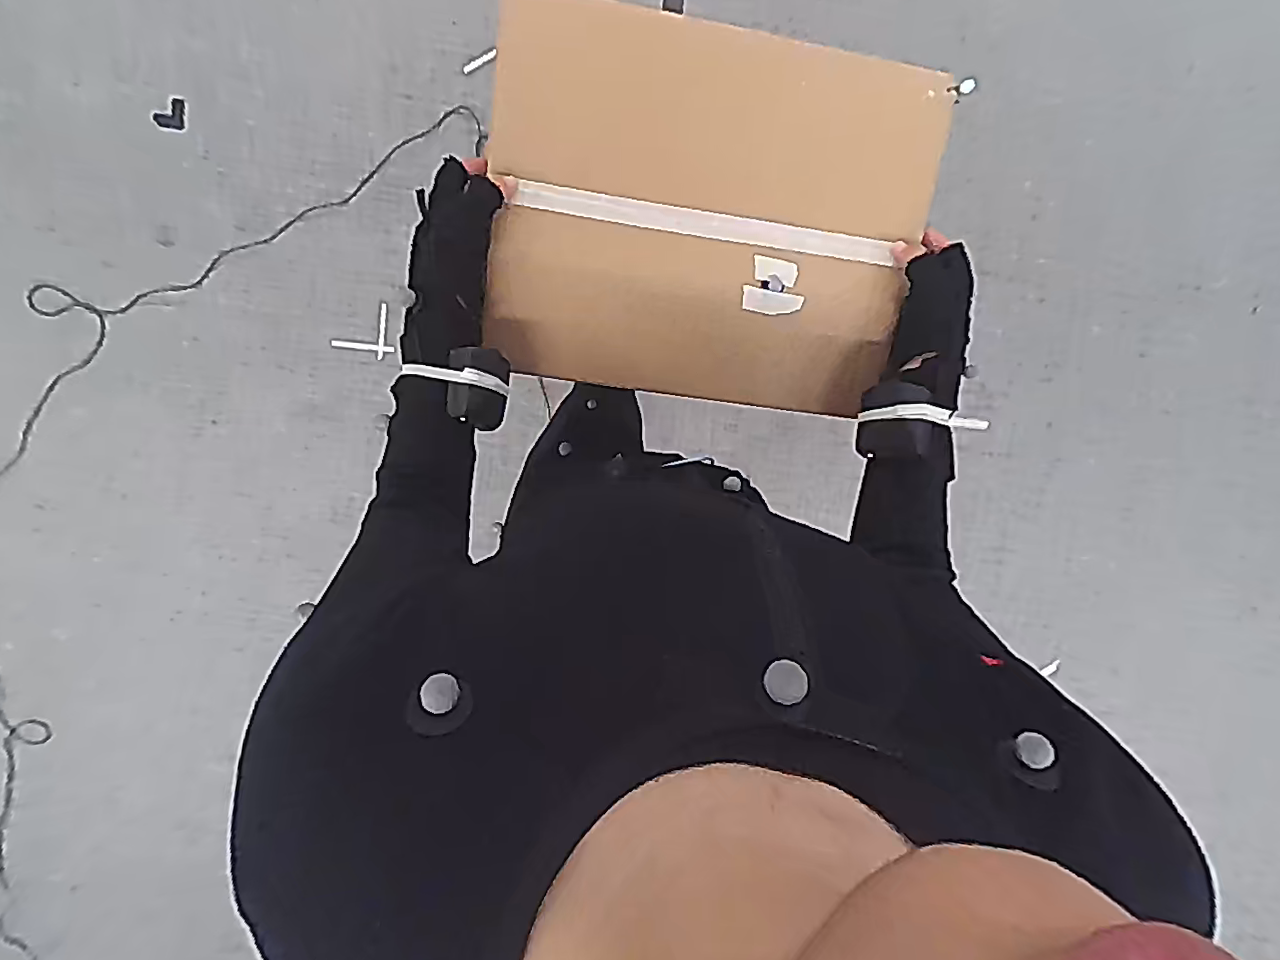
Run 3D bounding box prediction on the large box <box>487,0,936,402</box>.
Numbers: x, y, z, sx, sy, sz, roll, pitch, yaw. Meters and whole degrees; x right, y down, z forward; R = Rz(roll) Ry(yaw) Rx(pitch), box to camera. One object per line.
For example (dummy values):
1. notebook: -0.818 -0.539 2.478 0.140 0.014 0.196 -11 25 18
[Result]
1. large box: 0.047 -0.282 0.653 0.408 0.320 0.320 6 105 -7
